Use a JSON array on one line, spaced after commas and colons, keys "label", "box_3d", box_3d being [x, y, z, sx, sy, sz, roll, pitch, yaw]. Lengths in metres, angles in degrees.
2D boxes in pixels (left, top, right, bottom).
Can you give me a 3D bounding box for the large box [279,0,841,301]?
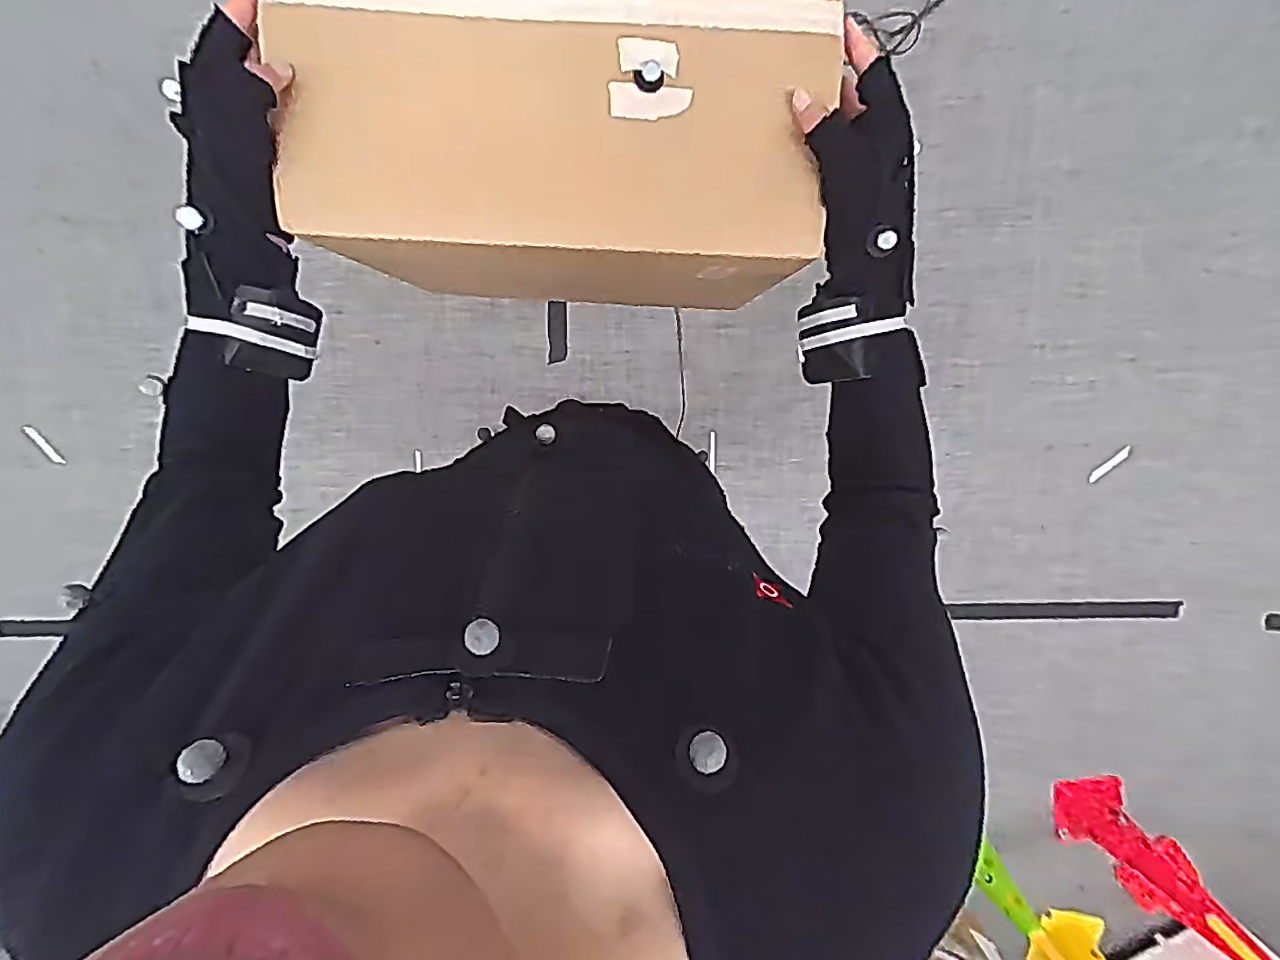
[{"label": "large box", "box_3d": [-0.060, -0.360, 0.530, 0.408, 0.320, 0.320, 2, 101, -3]}]
